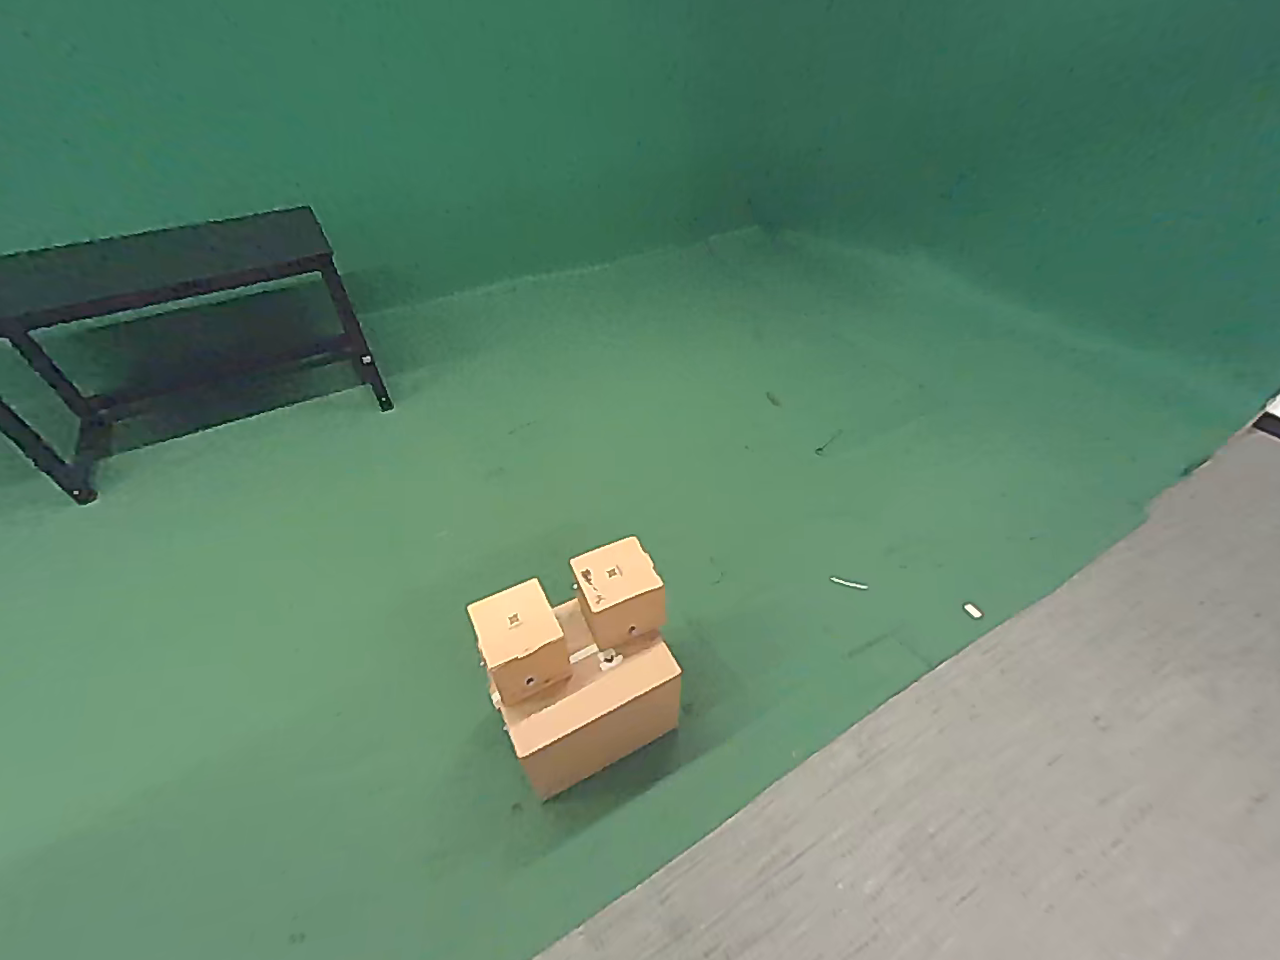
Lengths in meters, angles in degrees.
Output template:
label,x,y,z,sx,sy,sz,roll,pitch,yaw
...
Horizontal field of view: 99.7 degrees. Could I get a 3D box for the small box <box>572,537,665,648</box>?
label,x,y,z,sx,sy,sz,roll,pitch,yaw
small box,-0.052,0.271,1.302,0.179,0.176,0.168,-18,45,-16

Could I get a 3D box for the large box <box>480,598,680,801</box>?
label,x,y,z,sx,sy,sz,roll,pitch,yaw
large box,-0.147,0.530,1.388,0.408,0.320,0.320,-21,48,-20

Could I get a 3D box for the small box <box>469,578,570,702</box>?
label,x,y,z,sx,sy,sz,roll,pitch,yaw
small box,-0.268,0.360,1.217,0.168,0.176,0.179,-20,47,-20
